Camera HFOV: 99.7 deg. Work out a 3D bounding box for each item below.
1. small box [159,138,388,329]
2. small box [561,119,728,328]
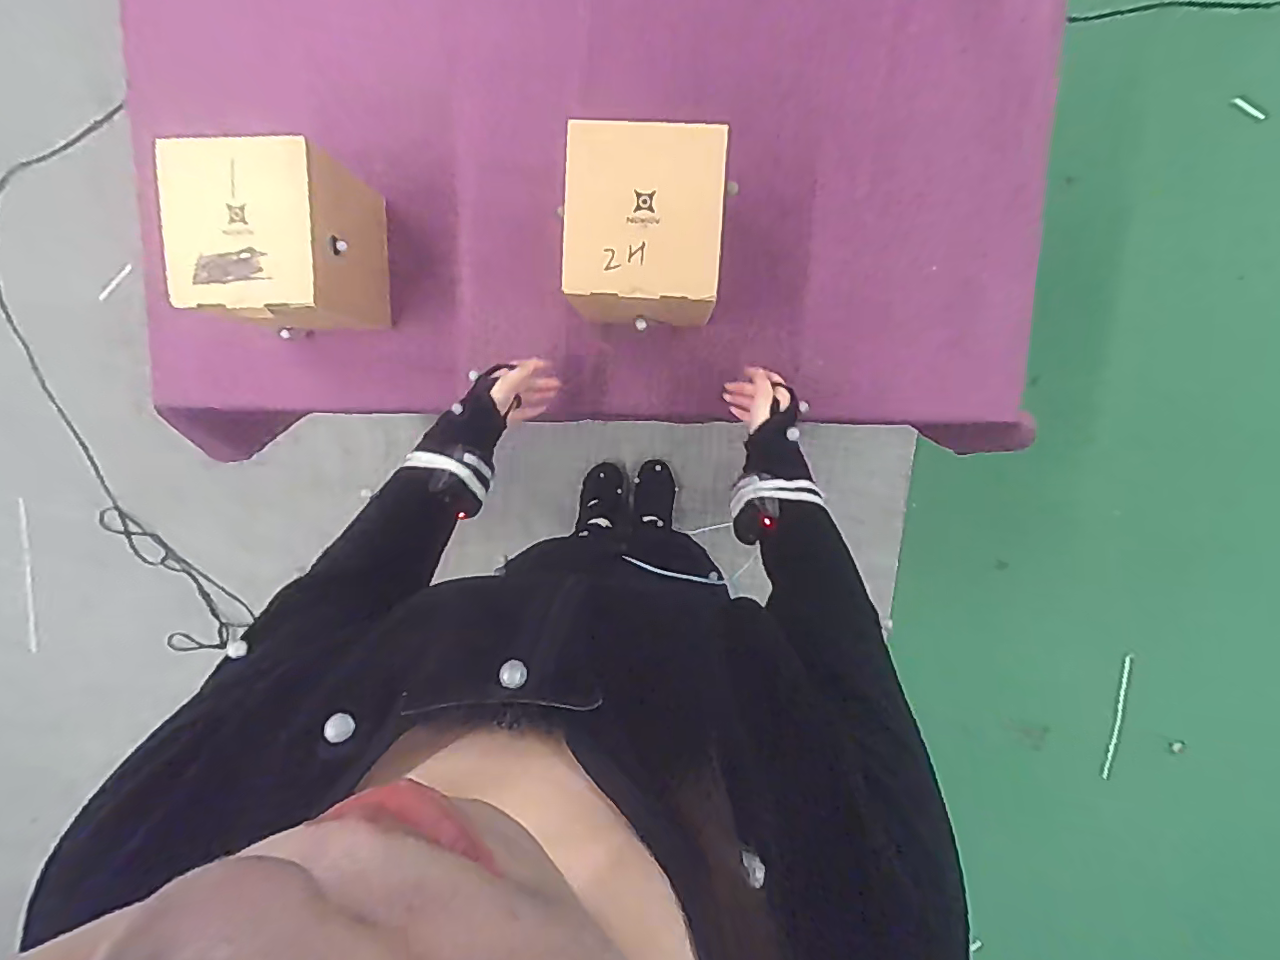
[{"bbox_3d":[-0.427,-0.284,0.660,0.168,0.176,0.179,1,96,2],"label":"small box"},{"bbox_3d":[0.006,-0.287,0.639,0.168,0.176,0.179,4,97,3],"label":"small box"}]
